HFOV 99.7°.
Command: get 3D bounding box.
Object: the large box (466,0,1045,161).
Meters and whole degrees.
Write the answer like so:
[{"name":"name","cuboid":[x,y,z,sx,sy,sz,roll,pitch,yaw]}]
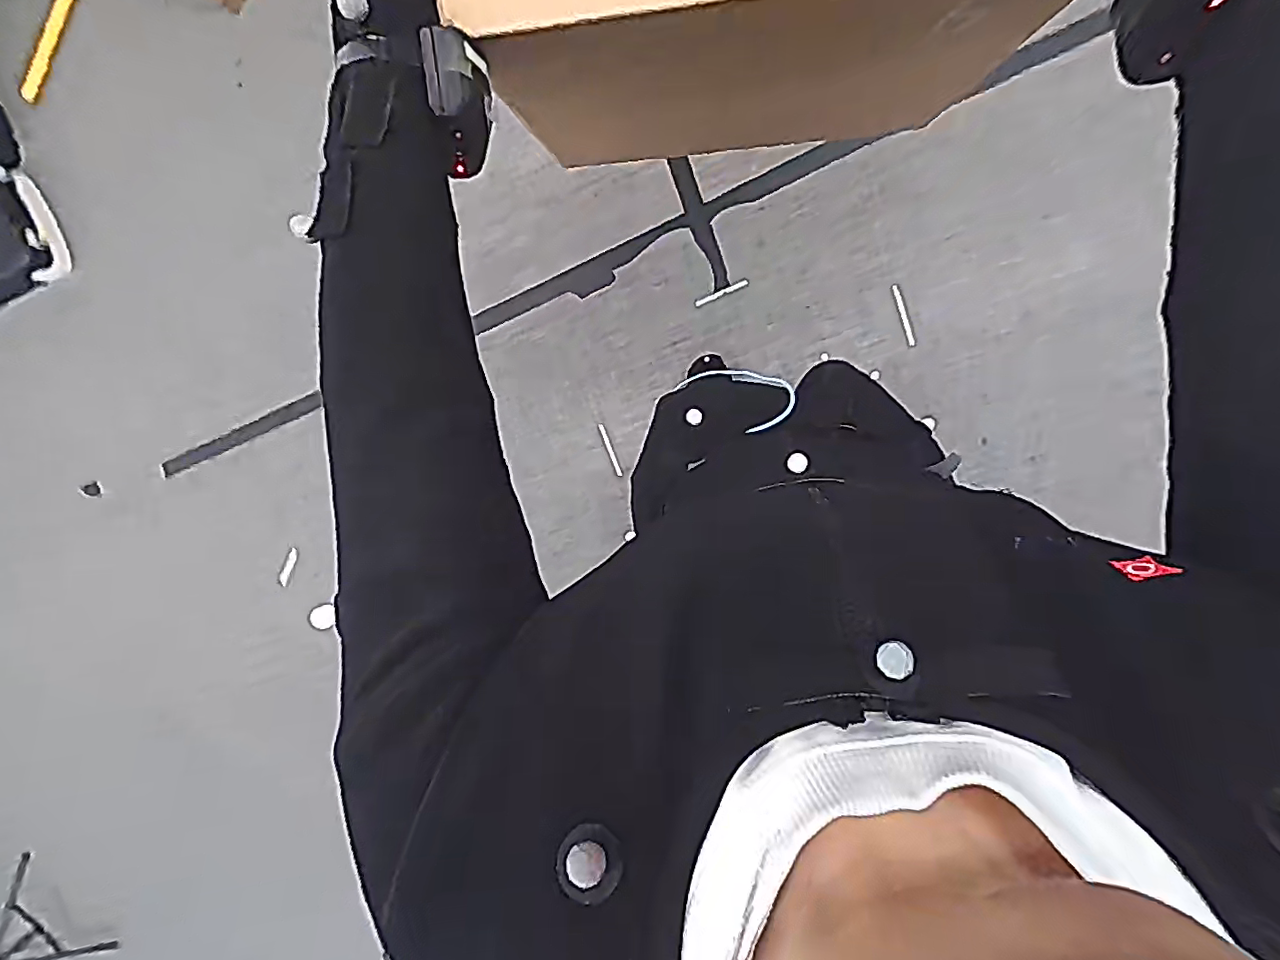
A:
[{"name":"large box","cuboid":[0.085,-0.486,0.426,0.408,0.320,0.320,-3,107,6]}]
